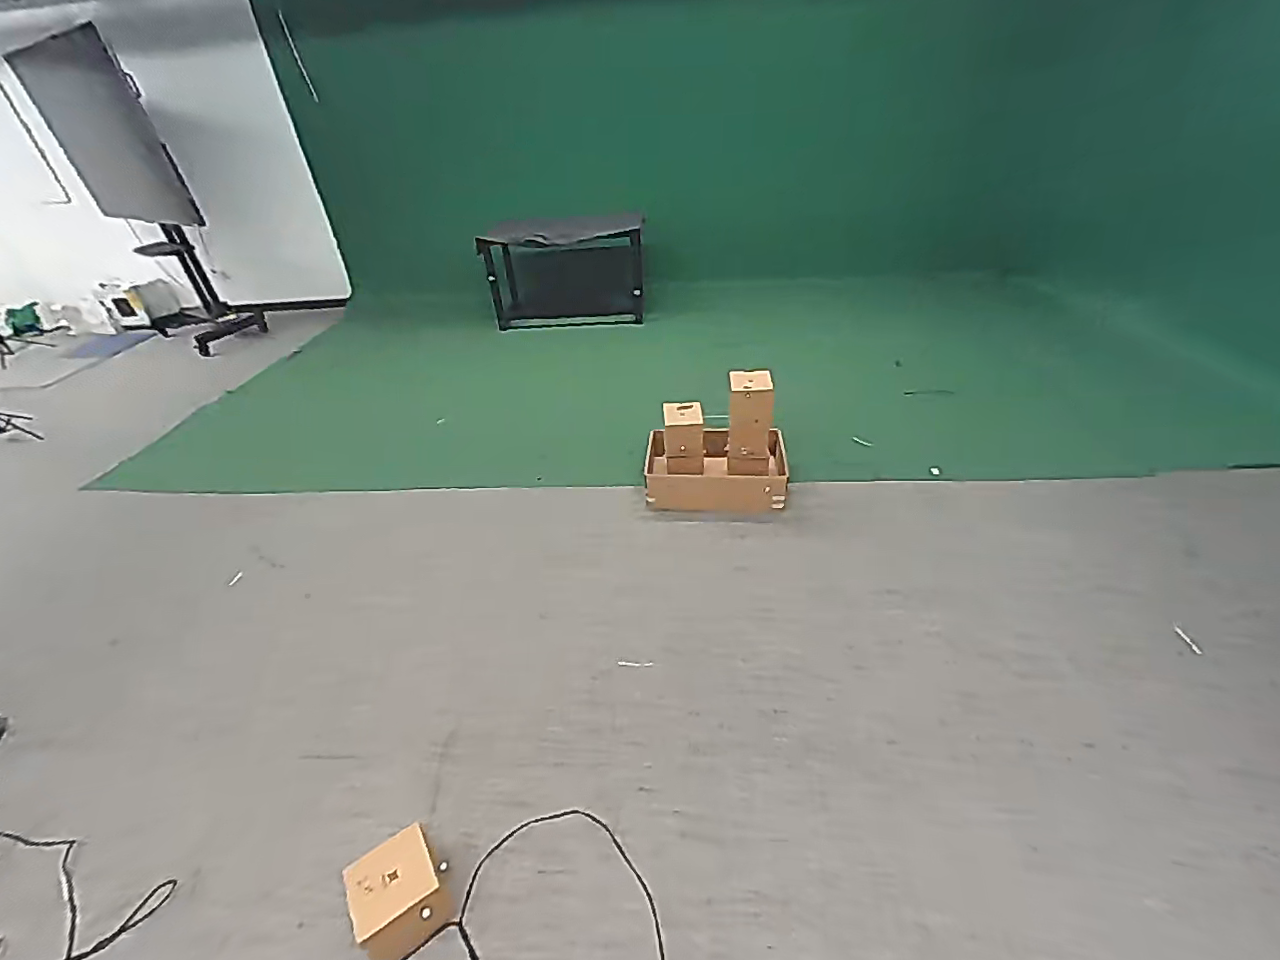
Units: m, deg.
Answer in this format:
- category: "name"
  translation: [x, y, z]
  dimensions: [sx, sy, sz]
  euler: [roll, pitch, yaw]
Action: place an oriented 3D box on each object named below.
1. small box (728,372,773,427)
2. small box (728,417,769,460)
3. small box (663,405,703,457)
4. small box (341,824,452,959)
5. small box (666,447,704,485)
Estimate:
- category: "small box"
  translation: [0.457, -0.336, 2.256]
  dimensions: [0.168, 0.176, 0.179]
  euler: [-1, 35, 7]
- category: "small box"
  translation: [0.469, -0.204, 2.354]
  dimensions: [0.168, 0.176, 0.179]
  euler: [0, 38, 9]
- category: "small box"
  translation: [0.188, -0.218, 2.402]
  dimensions: [0.168, 0.176, 0.179]
  euler: [-3, 38, 1]
- category: "small box"
  translation: [-0.544, 0.941, 1.228]
  dimensions: [0.179, 0.176, 0.168]
  euler: [-25, 39, -26]
- category: "small box"
  translation: [0.205, -0.092, 2.509]
  dimensions: [0.168, 0.176, 0.179]
  euler: [-1, 37, 3]
